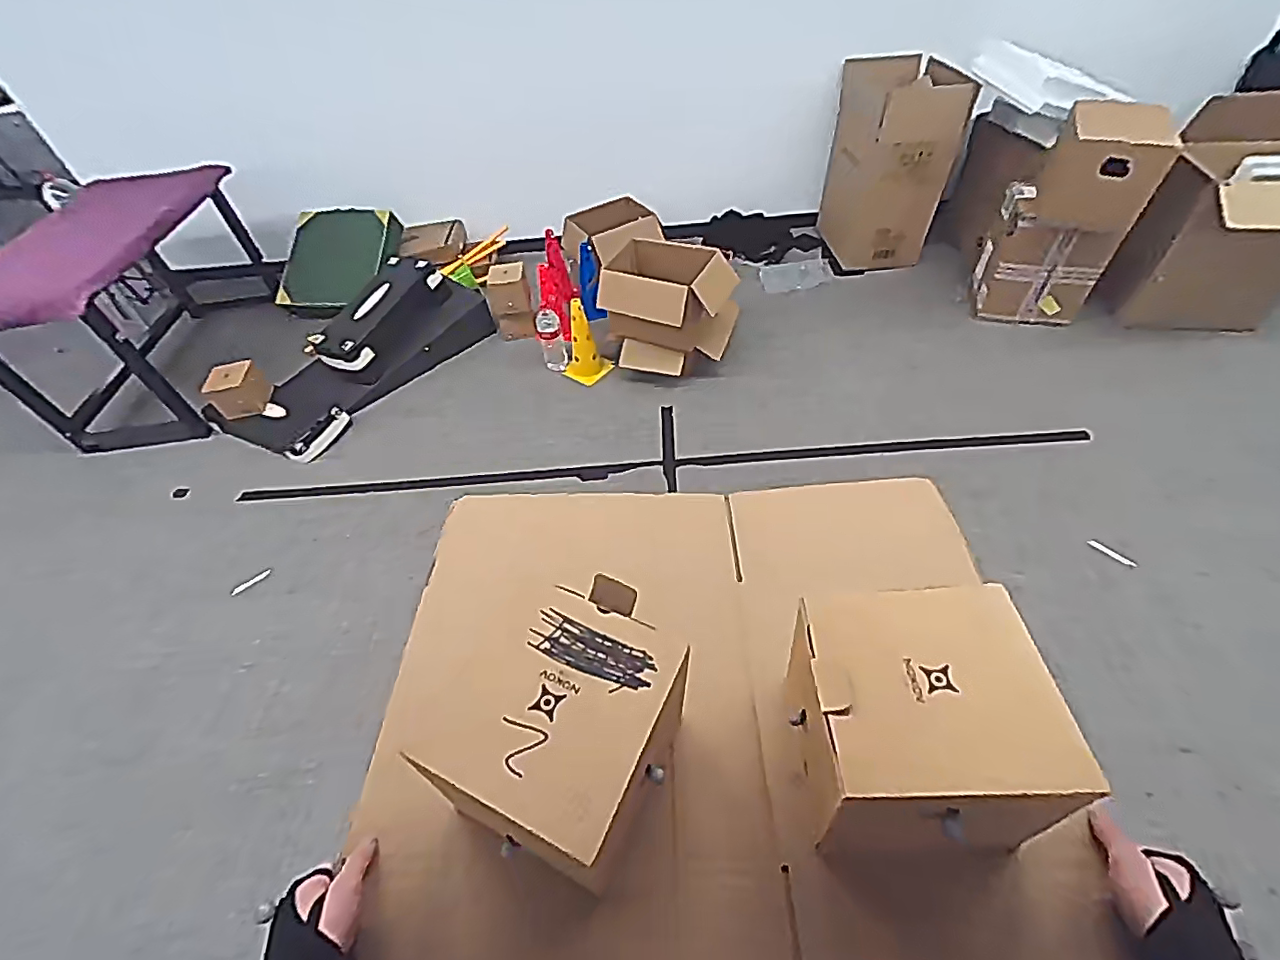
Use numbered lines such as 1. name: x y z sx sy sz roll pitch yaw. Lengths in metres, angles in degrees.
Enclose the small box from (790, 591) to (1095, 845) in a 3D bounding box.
1. small box: 0.243 0.219 0.494 0.179 0.176 0.168 -5 46 6
